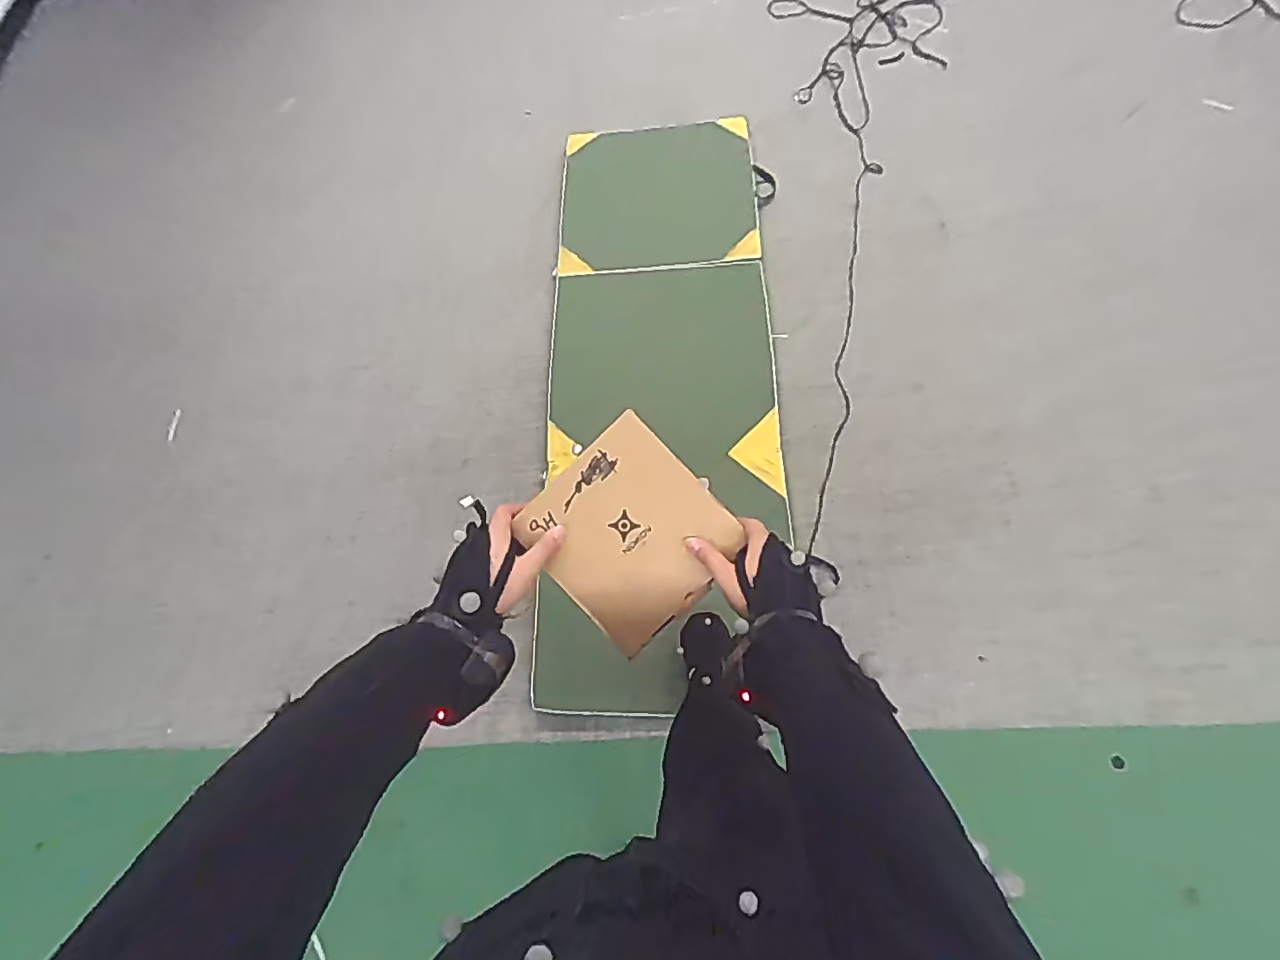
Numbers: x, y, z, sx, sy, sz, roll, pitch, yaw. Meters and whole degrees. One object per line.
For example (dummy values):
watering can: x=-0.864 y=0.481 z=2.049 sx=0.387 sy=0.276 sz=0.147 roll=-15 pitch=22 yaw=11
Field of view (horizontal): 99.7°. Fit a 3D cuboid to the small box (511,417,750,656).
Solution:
small box: x=-0.008 y=0.056 z=0.599 sx=0.168 sy=0.176 sz=0.179 roll=-43 pitch=87 yaw=-1
